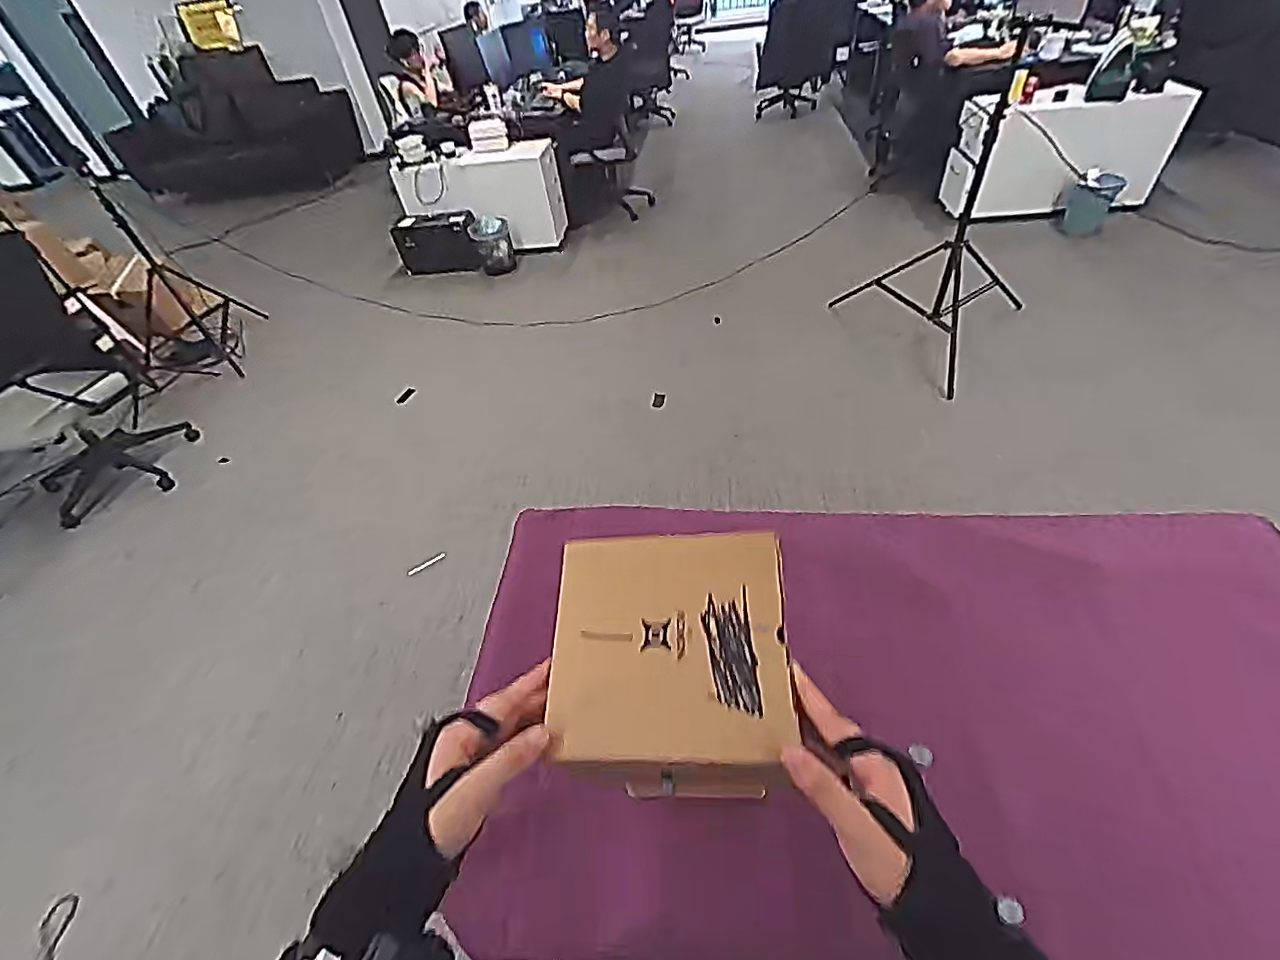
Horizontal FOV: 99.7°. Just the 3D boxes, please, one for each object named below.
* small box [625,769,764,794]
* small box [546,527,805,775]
[{"bbox_3d":[0.066,0.288,0.693,0.179,0.176,0.168,-3,45,5],"label":"small box"},{"bbox_3d":[0.037,0.153,0.466,0.179,0.176,0.168,-4,57,10],"label":"small box"}]
